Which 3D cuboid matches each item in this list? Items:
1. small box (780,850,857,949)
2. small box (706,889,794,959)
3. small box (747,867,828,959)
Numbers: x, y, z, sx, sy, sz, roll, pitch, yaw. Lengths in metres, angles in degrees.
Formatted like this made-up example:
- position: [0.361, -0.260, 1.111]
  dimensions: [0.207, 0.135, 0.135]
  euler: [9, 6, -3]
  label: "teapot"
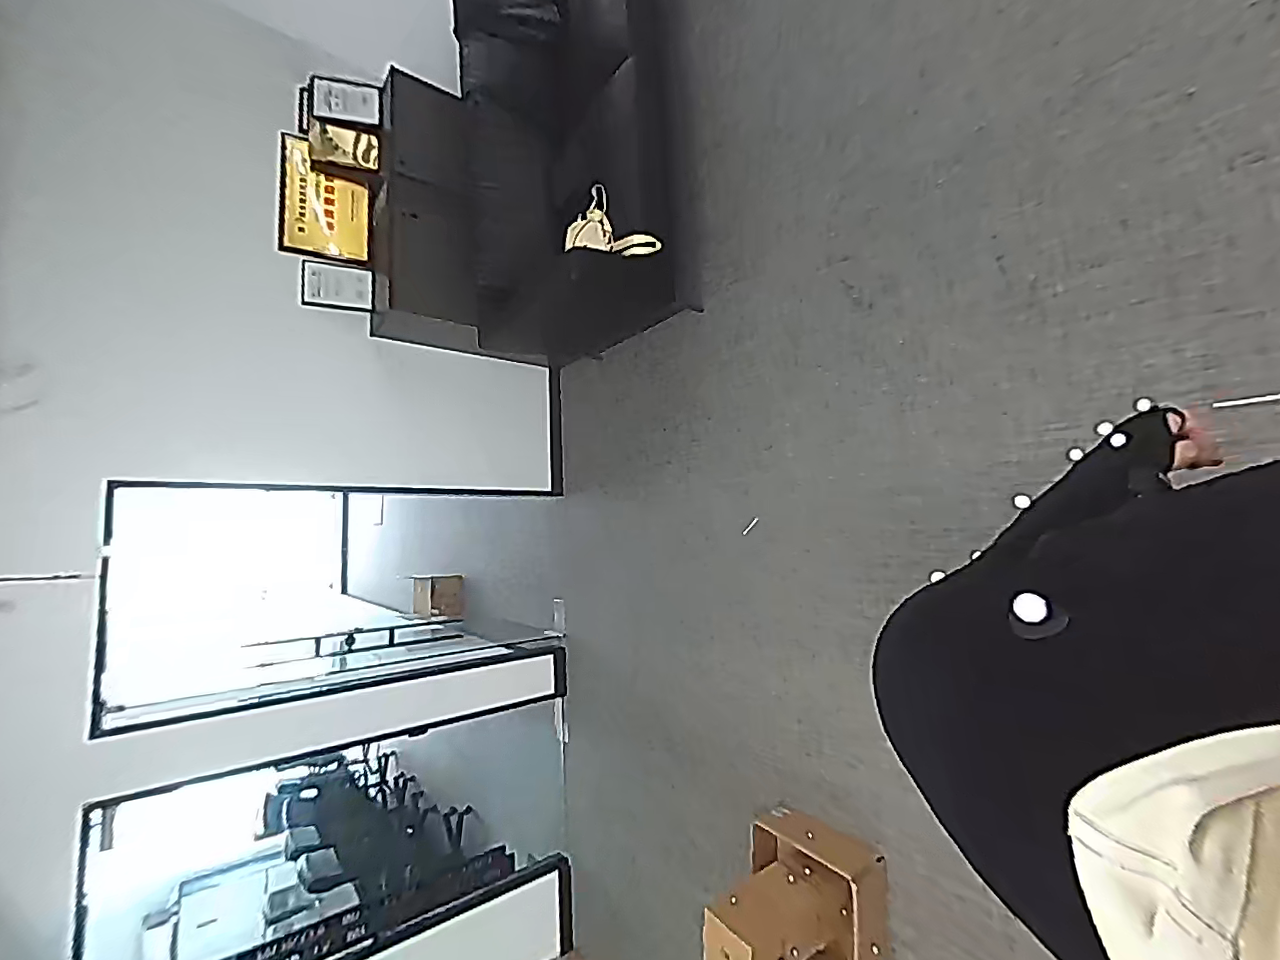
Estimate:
- position: [0.568, 1.331, 1.733]
  dimensions: [0.179, 0.176, 0.168]
  euler: [-1, 87, 52]
  label: "small box"
- position: [0.310, 1.310, 1.534]
  dimensions: [0.179, 0.176, 0.168]
  euler: [2, 90, 52]
  label: "small box"
- position: [0.439, 1.316, 1.633]
  dimensions: [0.179, 0.176, 0.168]
  euler: [2, 89, 53]
  label: "small box"
